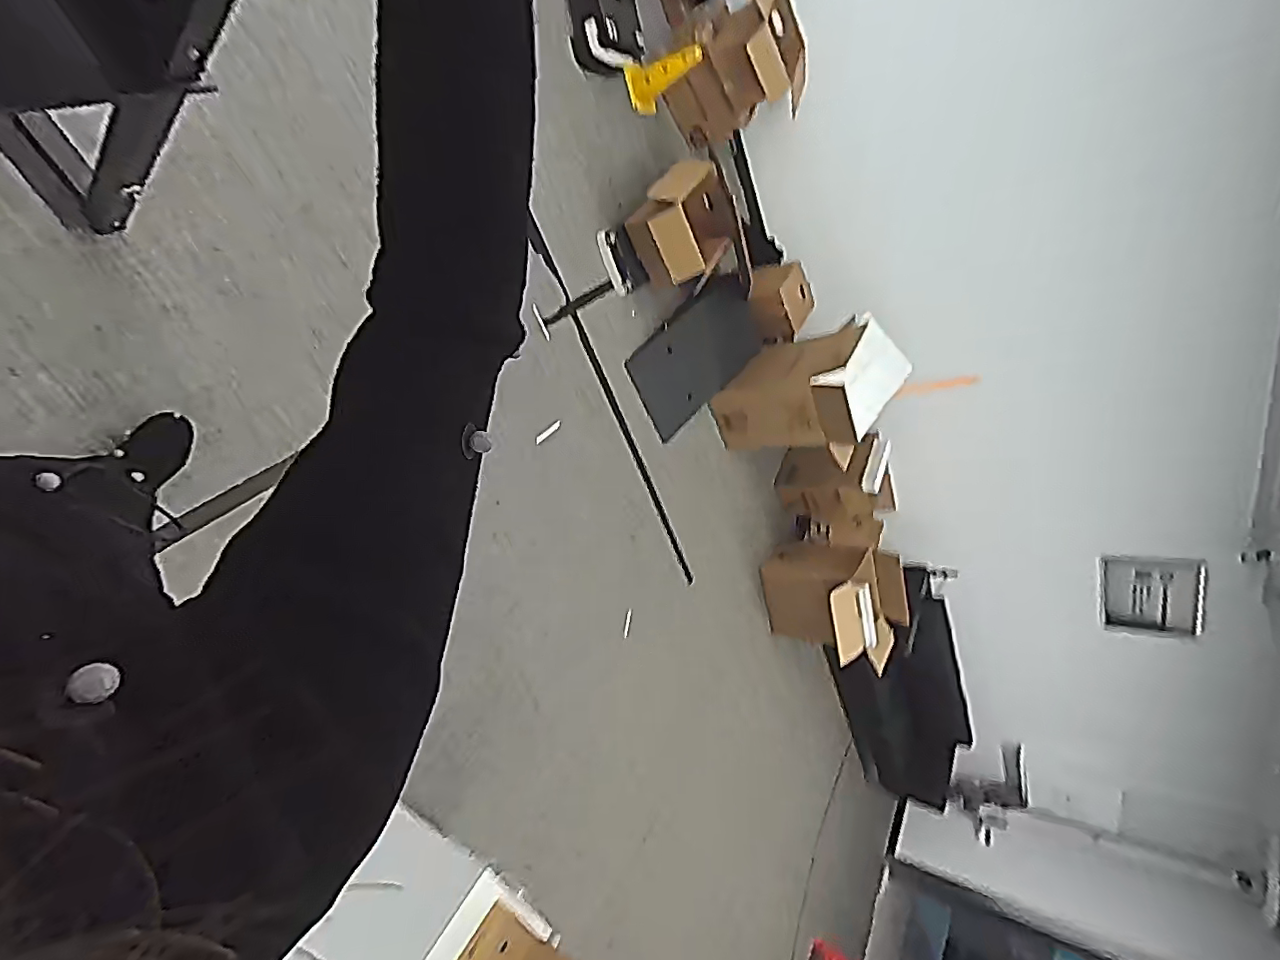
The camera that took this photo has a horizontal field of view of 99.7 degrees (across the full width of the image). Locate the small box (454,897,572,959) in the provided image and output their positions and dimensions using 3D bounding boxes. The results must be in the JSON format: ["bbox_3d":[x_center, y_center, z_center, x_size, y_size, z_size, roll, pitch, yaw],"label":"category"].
[{"bbox_3d":[-0.297,1.114,1.251,0.168,0.176,0.179,-48,125,-39],"label":"small box"}]
